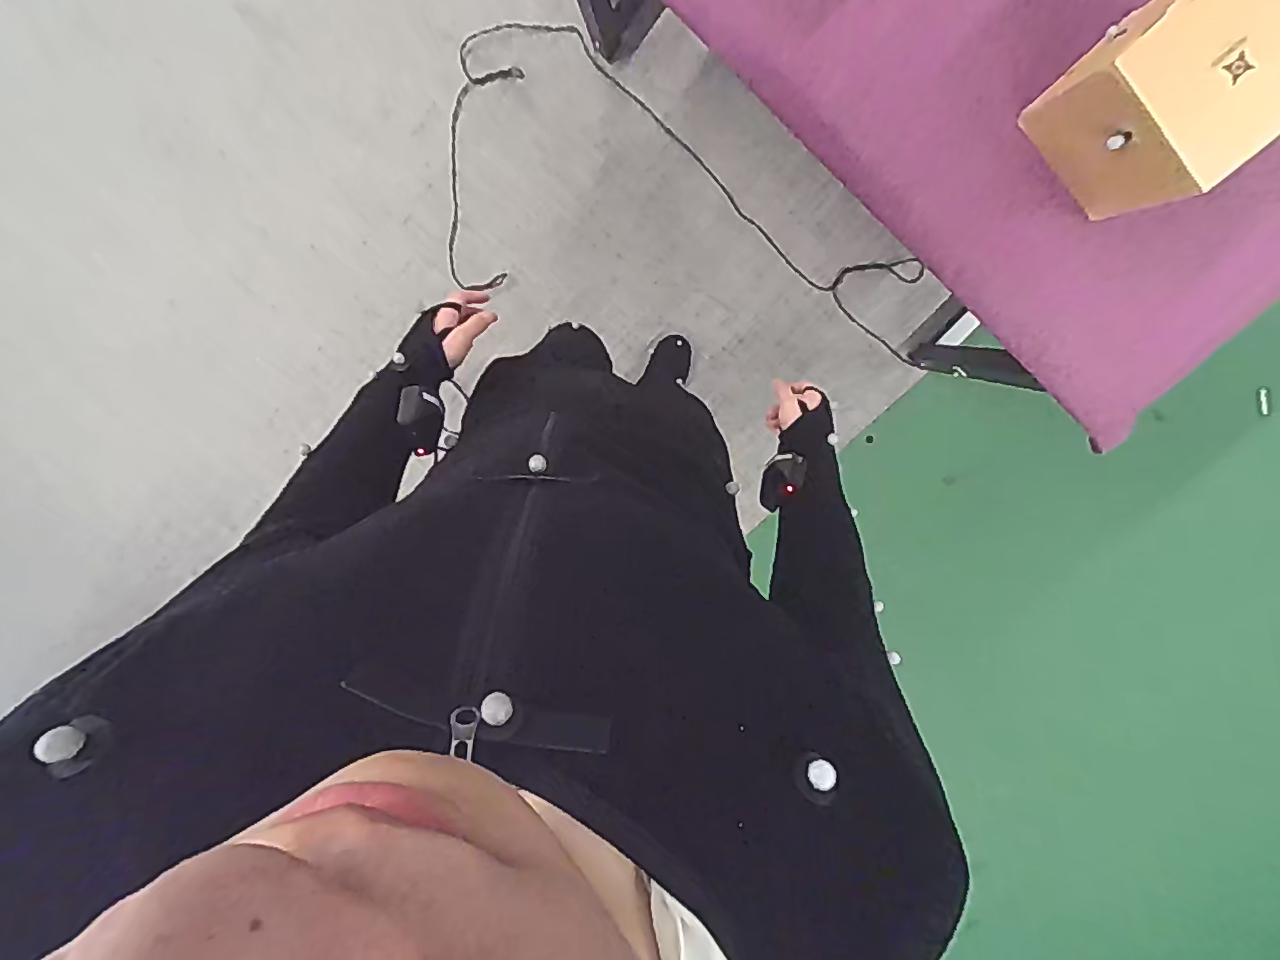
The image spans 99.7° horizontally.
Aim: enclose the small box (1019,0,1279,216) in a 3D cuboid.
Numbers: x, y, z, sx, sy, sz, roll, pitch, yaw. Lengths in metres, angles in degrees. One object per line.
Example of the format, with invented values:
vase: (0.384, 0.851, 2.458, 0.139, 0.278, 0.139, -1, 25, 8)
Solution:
small box: (0.602, -0.437, 0.629, 0.168, 0.176, 0.179, -42, 98, 14)
